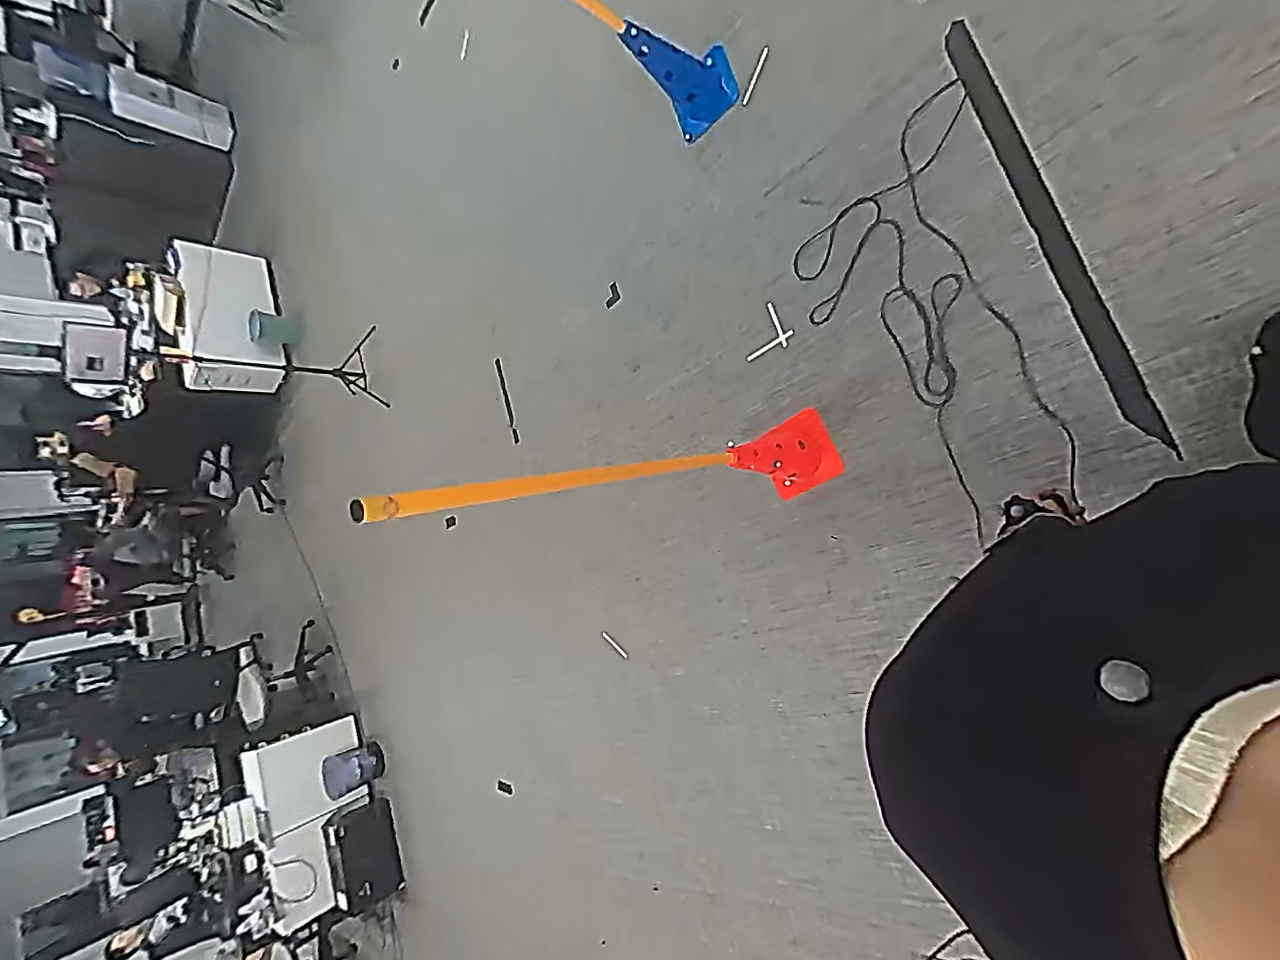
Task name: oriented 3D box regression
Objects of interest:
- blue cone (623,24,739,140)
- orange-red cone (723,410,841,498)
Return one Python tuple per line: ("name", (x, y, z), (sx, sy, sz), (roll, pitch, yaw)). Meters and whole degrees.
("blue cone", (0.088, -1.139, 1.487), (0.193, 0.380, 0.192), (-23, 79, 41))
("orange-red cone", (0.317, -0.061, 1.343), (0.199, 0.360, 0.198), (-32, 73, 37))
